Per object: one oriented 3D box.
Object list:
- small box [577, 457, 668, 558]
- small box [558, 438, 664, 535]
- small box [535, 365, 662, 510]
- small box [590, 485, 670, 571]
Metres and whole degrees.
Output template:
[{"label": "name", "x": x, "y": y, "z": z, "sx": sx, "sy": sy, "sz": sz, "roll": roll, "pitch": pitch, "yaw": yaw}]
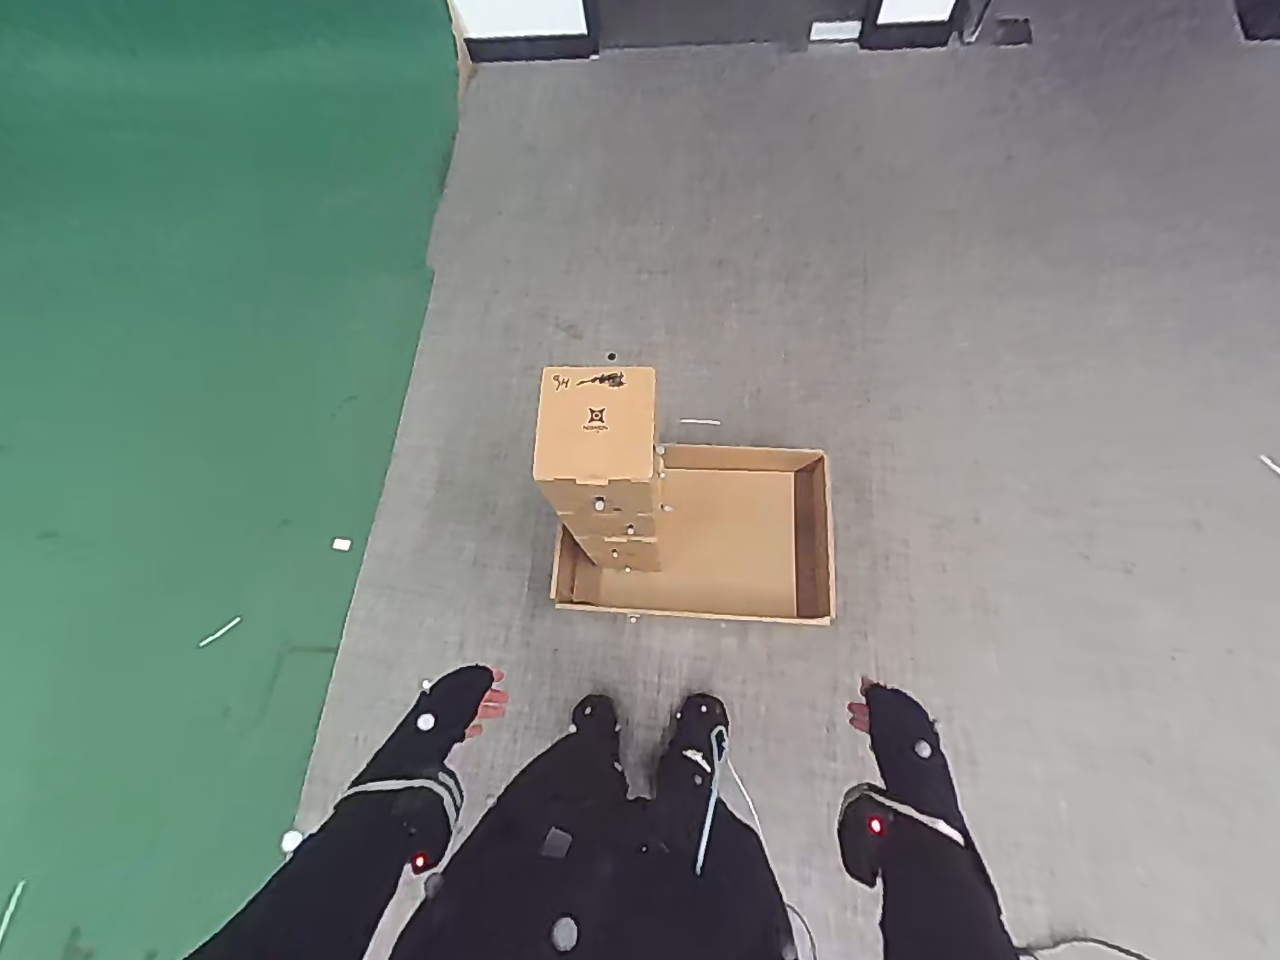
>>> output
[{"label": "small box", "x": -0.029, "y": 0.057, "z": 1.128, "sx": 0.168, "sy": 0.176, "sz": 0.179, "roll": 3, "pitch": 72, "yaw": 5}, {"label": "small box", "x": -0.043, "y": -0.001, "z": 0.975, "sx": 0.168, "sy": 0.176, "sz": 0.179, "roll": 1, "pitch": 72, "yaw": 4}, {"label": "small box", "x": -0.052, "y": -0.056, "z": 0.821, "sx": 0.168, "sy": 0.176, "sz": 0.179, "roll": 1, "pitch": 73, "yaw": 3}, {"label": "small box", "x": -0.017, "y": 0.110, "z": 1.281, "sx": 0.168, "sy": 0.176, "sz": 0.179, "roll": 4, "pitch": 72, "yaw": 6}]
